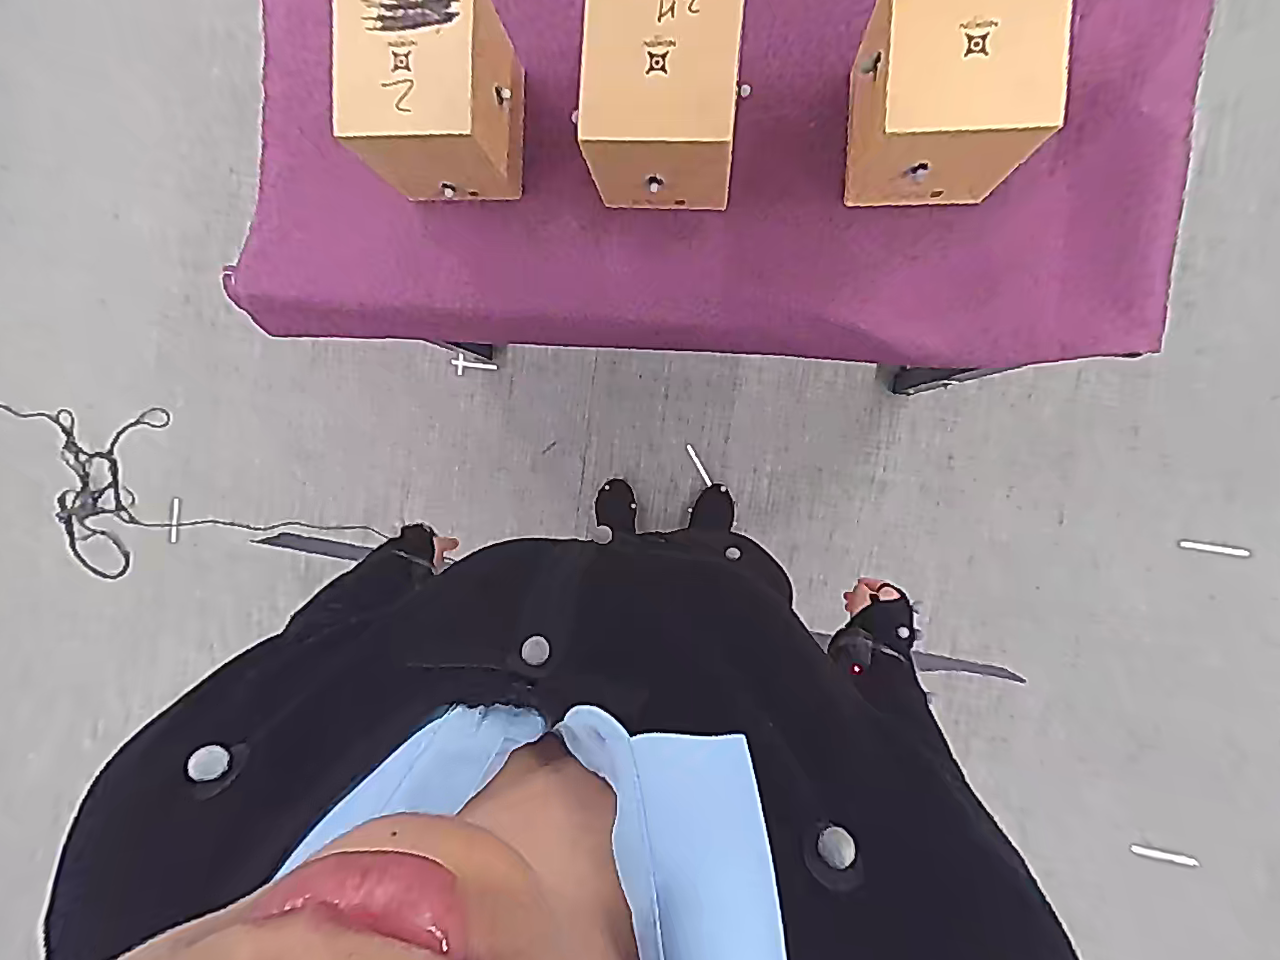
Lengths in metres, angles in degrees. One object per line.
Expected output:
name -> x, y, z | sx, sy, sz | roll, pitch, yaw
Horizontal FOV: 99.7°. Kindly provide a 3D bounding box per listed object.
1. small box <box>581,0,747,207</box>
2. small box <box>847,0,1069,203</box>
small box -> 0.033, -0.449, 0.646 | 0.168, 0.176, 0.179 | 5, 94, 6
small box -> 0.340, -0.433, 0.611 | 0.168, 0.176, 0.179 | 2, 92, 7
